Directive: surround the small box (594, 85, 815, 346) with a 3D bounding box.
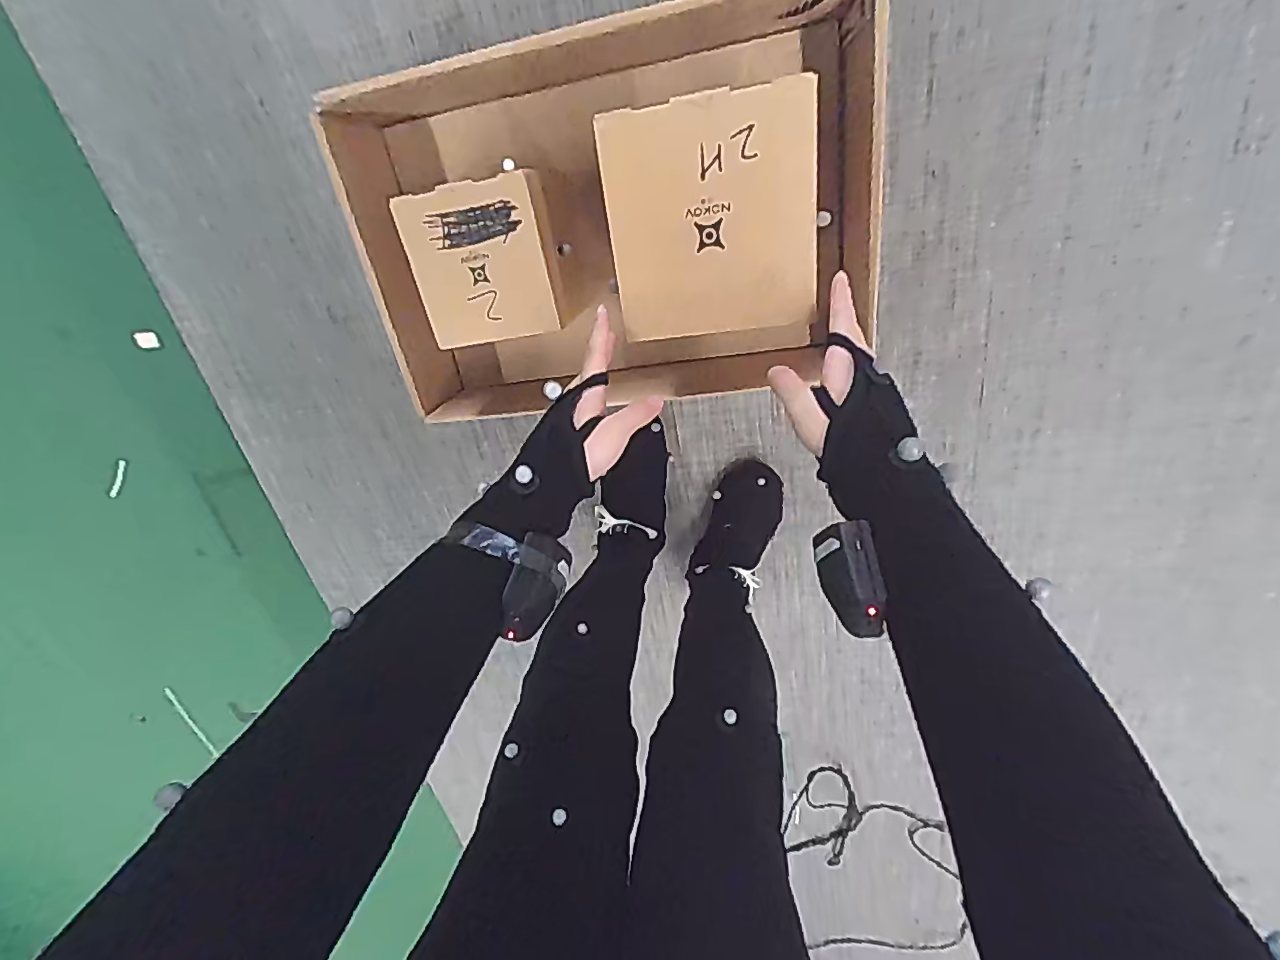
[{"bbox_3d":[0.067,-0.237,0.504,0.168,0.176,0.179,-3,117,11],"label":"small box"}]
